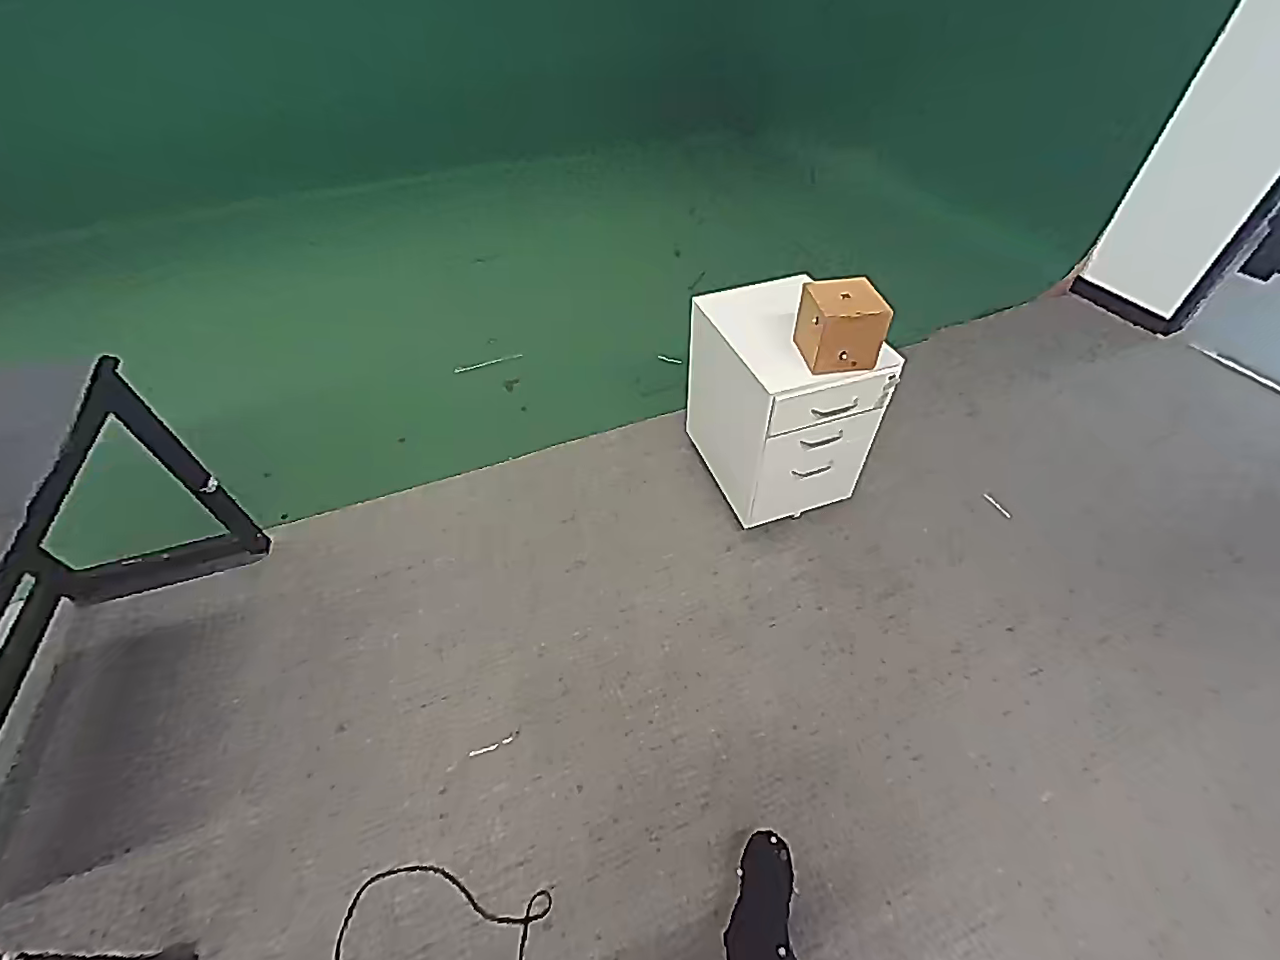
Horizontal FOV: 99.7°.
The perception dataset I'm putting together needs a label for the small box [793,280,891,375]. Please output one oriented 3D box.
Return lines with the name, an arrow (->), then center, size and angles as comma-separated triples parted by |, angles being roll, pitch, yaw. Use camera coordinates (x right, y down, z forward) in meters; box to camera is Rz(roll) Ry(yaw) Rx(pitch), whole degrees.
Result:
small box -> 0.506, -0.392, 1.388 | 0.168, 0.176, 0.179 | -6, 47, -3
